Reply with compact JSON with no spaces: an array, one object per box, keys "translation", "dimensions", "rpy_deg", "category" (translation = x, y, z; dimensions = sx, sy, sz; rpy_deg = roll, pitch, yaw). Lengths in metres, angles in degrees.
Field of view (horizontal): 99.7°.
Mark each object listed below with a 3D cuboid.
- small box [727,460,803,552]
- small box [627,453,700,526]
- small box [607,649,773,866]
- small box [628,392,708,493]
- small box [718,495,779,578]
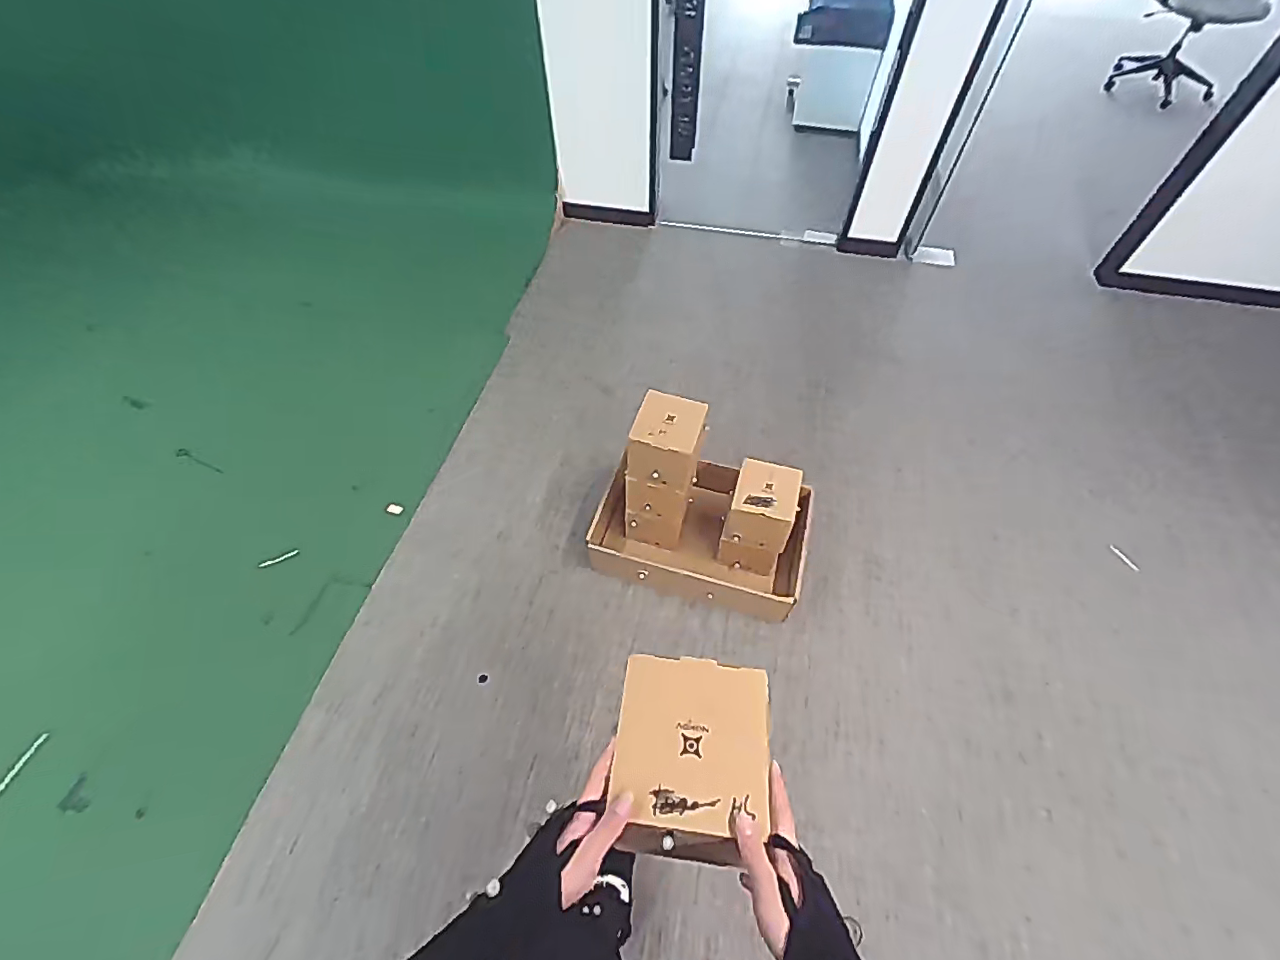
[{"translation":[0.340,0.075,1.495],"dimensions":[0.168,0.176,0.179],"rpy_deg":[13,55,11],"category":"small box"},{"translation":[0.064,0.002,1.550],"dimensions":[0.168,0.176,0.179],"rpy_deg":[15,56,9],"category":"small box"},{"translation":[0.059,0.327,0.639],"dimensions":[0.168,0.176,0.179],"rpy_deg":[5,48,6],"category":"small box"},{"translation":[0.070,-0.095,1.417],"dimensions":[0.168,0.176,0.179],"rpy_deg":[15,56,10],"category":"small box"},{"translation":[0.335,0.167,1.631],"dimensions":[0.168,0.176,0.179],"rpy_deg":[13,57,11],"category":"small box"}]
